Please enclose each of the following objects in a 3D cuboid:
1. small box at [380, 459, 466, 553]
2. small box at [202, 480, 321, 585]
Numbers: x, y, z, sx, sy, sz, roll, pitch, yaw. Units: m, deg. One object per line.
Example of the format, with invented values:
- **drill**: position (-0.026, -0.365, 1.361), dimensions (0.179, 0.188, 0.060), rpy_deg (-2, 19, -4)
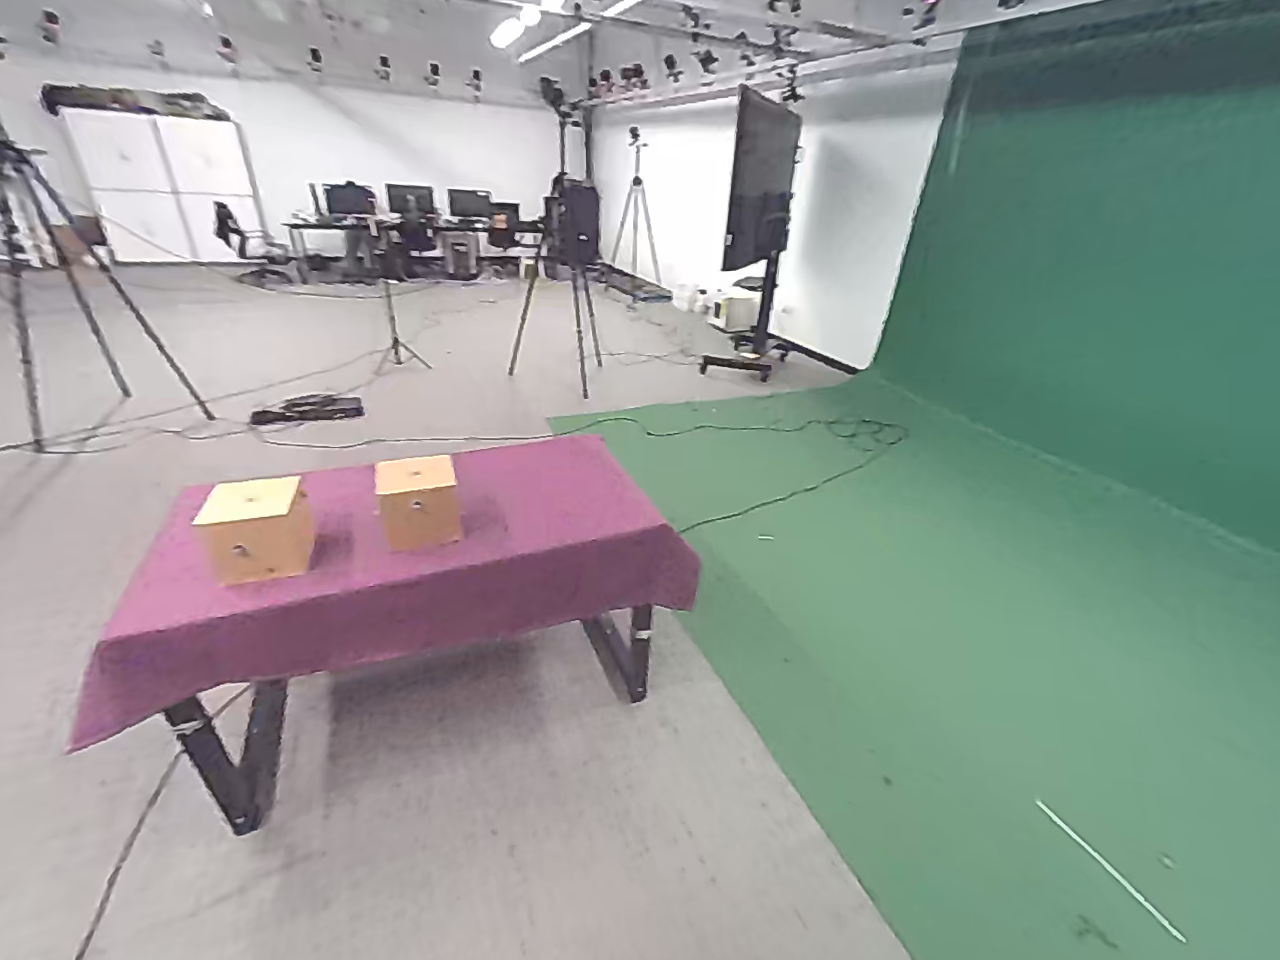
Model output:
- **small box**: position (-0.542, 0.066, 1.357), dimensions (0.179, 0.176, 0.168), rpy_deg (-8, 31, -20)
- **small box**: position (-0.845, 0.122, 1.227), dimensions (0.168, 0.176, 0.179), rpy_deg (-7, 30, -18)
